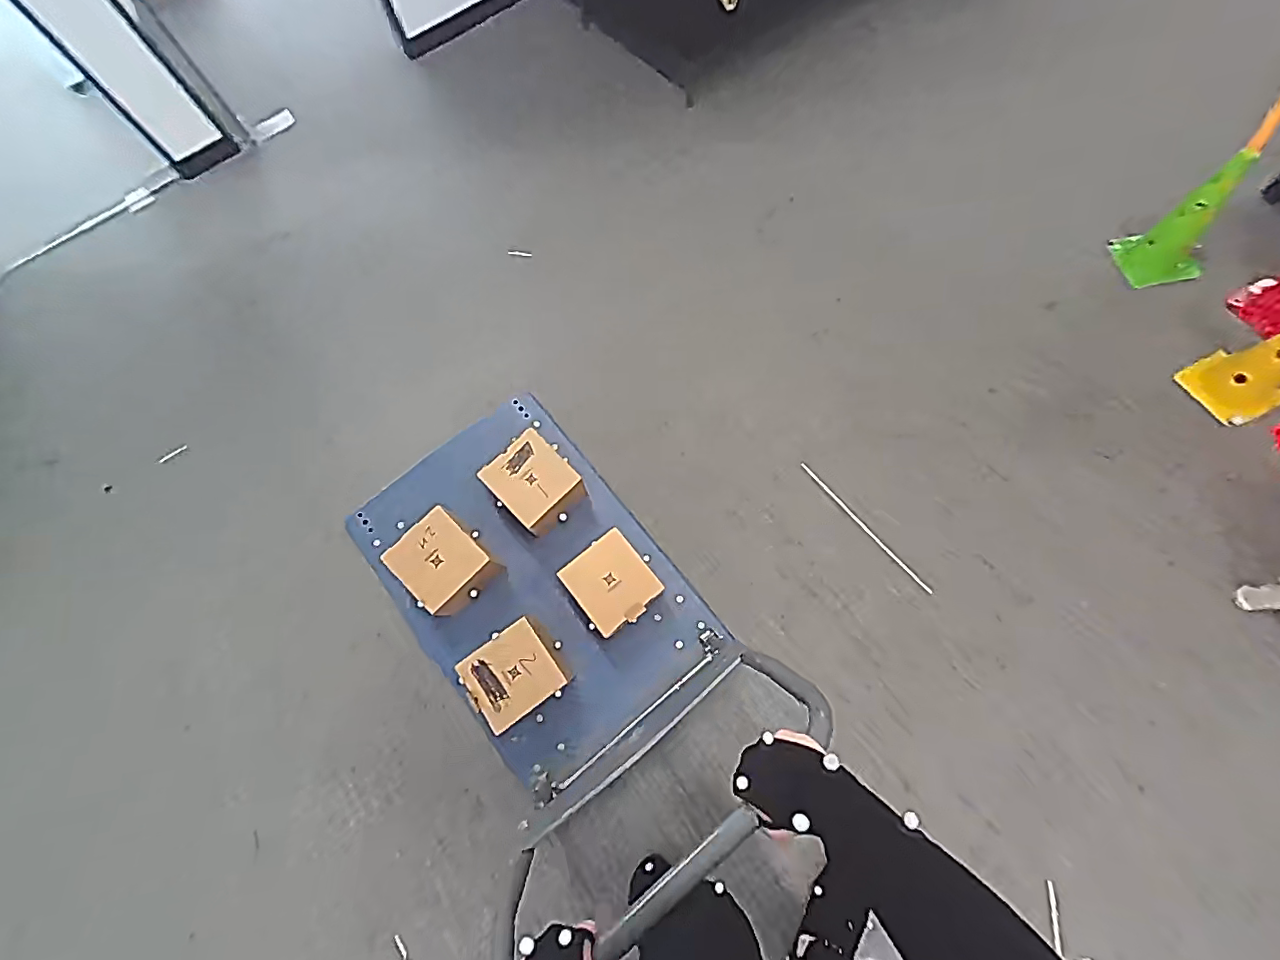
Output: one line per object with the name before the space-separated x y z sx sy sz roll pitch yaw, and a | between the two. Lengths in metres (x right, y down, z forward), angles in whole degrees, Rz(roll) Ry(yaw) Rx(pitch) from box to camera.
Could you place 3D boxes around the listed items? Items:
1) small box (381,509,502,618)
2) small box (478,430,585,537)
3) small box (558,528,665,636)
small box | -0.441 0.194 1.236 0.179 0.176 0.168 43 78 10
small box | -0.250 0.016 1.286 0.179 0.176 0.168 44 80 9
small box | -0.064 0.237 1.233 0.168 0.176 0.179 -39 80 -10
